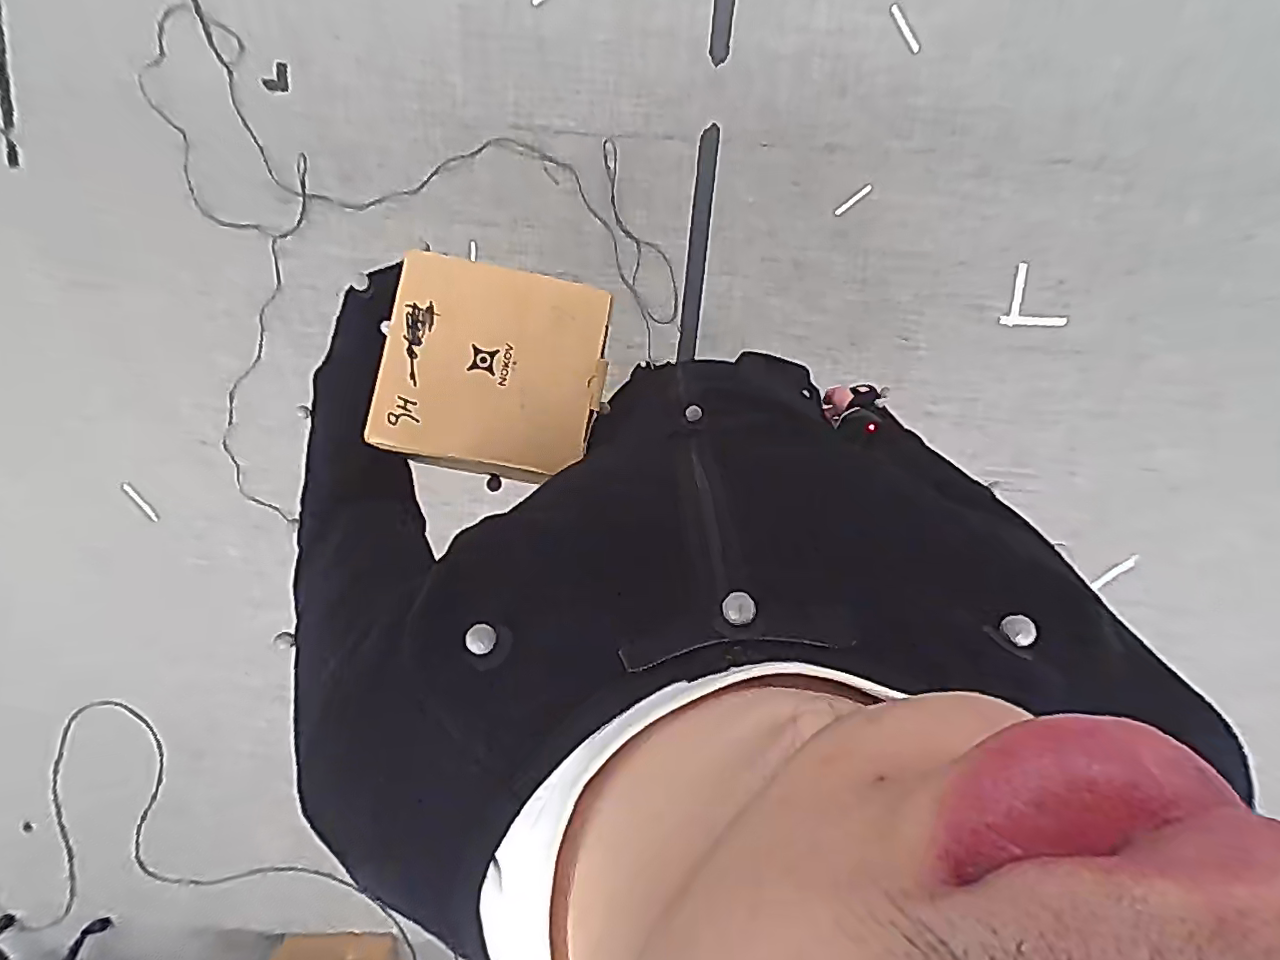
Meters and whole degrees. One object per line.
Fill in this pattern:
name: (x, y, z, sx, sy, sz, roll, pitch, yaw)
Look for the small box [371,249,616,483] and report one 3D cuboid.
small box: (-0.131, -0.093, 0.533, 0.179, 0.176, 0.168, 11, 84, -7)
